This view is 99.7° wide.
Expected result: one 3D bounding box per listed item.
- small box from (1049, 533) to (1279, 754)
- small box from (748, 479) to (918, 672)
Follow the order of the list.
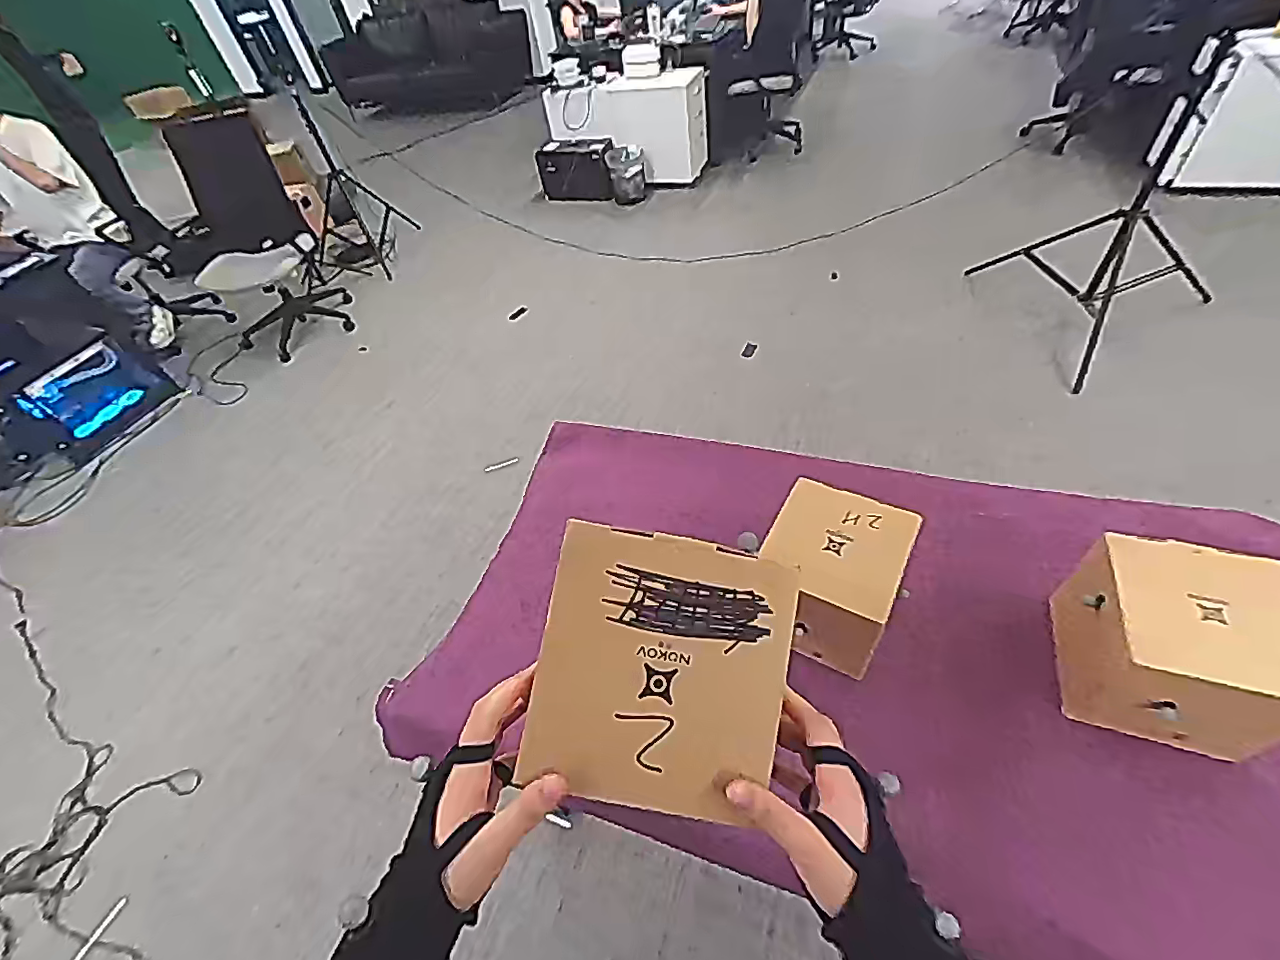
[{"bbox_3d":[0.617,0.193,0.639,0.168,0.176,0.179,10,50,20],"label":"small box"},{"bbox_3d":[0.262,0.135,0.754,0.168,0.176,0.179,21,55,25],"label":"small box"}]
